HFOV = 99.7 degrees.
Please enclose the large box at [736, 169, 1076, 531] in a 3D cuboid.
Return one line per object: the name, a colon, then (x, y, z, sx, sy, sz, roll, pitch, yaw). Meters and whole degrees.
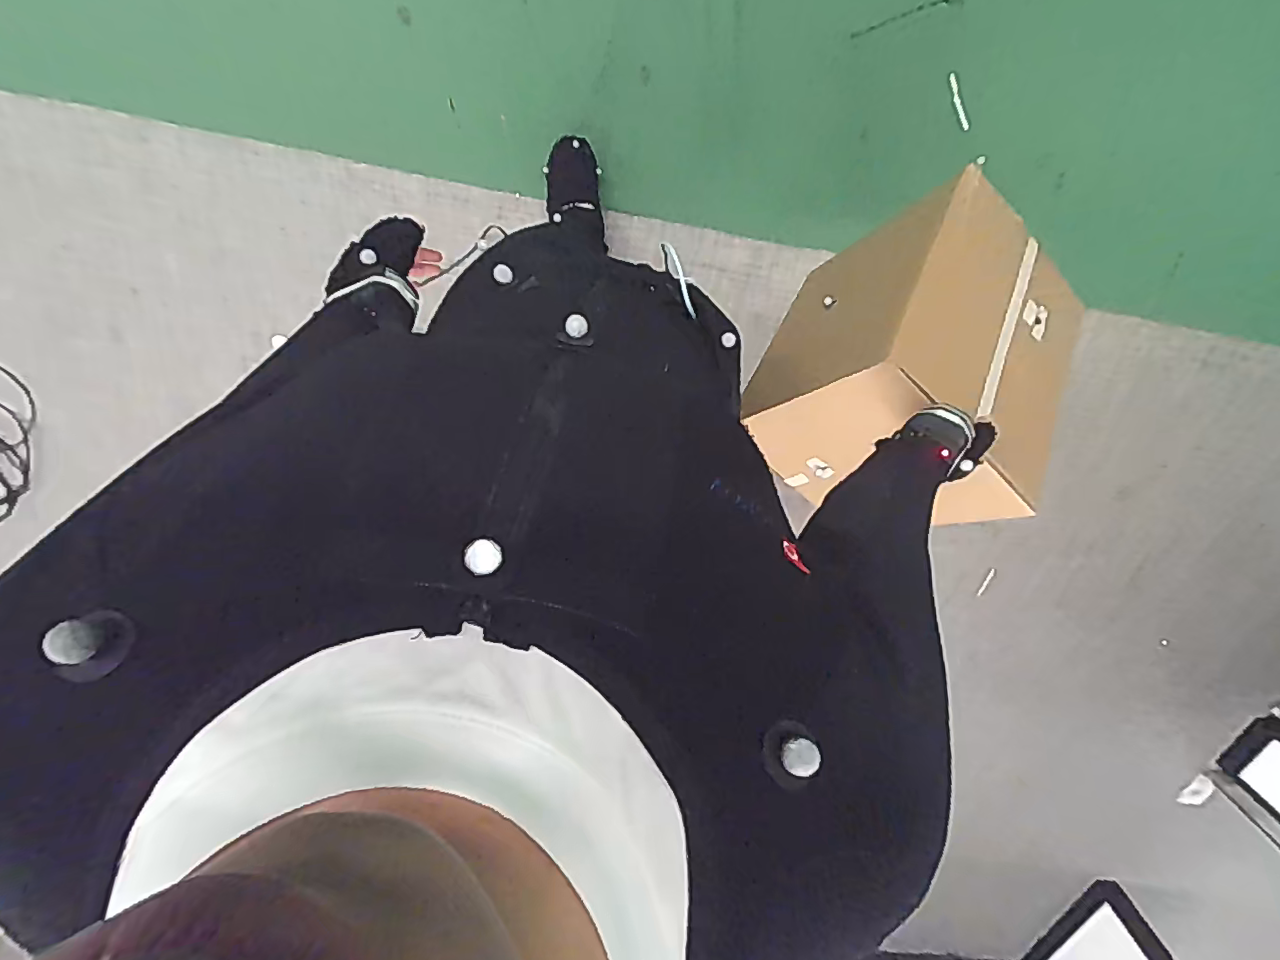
large box: (0.420, -0.174, 0.866, 0.320, 0.320, 0.408, 38, 65, -18)
